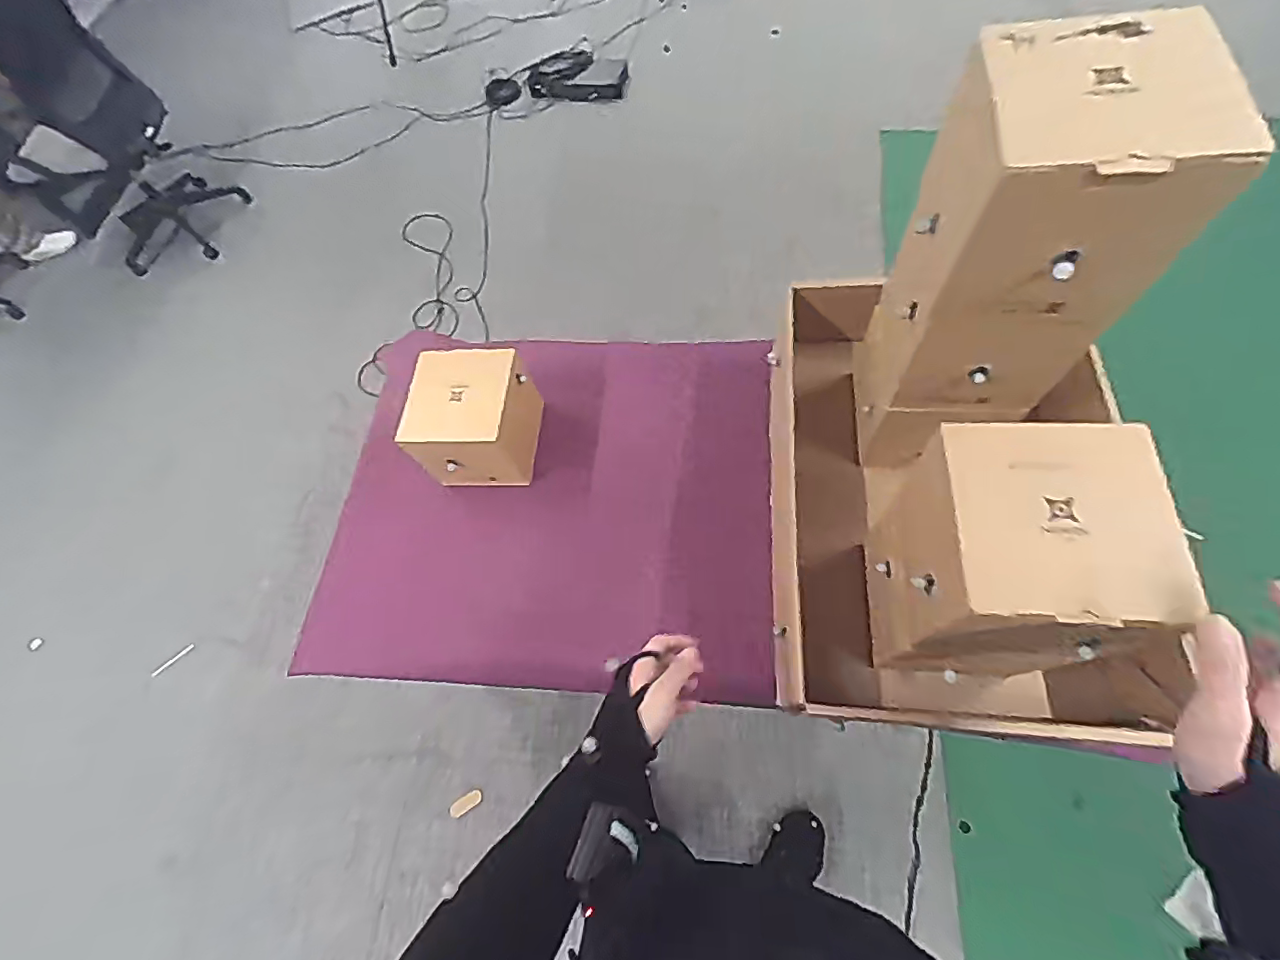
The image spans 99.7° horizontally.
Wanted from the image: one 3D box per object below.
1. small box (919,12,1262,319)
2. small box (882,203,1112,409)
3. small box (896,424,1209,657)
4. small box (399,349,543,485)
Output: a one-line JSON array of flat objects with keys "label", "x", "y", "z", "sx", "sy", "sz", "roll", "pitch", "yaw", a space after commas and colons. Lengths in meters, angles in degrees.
[{"label": "small box", "x": 0.365, "y": -0.263, "z": 0.484, "sx": 0.168, "sy": 0.176, "sz": 0.179, "roll": 4, "pitch": 67, "yaw": 11}, {"label": "small box", "x": 0.392, "y": -0.197, "z": 0.631, "sx": 0.168, "sy": 0.176, "sz": 0.179, "roll": 4, "pitch": 66, "yaw": 10}, {"label": "small box", "x": 0.356, "y": 0.064, "z": 0.513, "sx": 0.168, "sy": 0.176, "sz": 0.179, "roll": 2, "pitch": 64, "yaw": 11}, {"label": "small box", "x": -0.275, "y": -0.101, "z": 0.925, "sx": 0.168, "sy": 0.176, "sz": 0.179, "roll": 0, "pitch": 63, "yaw": 8}]
